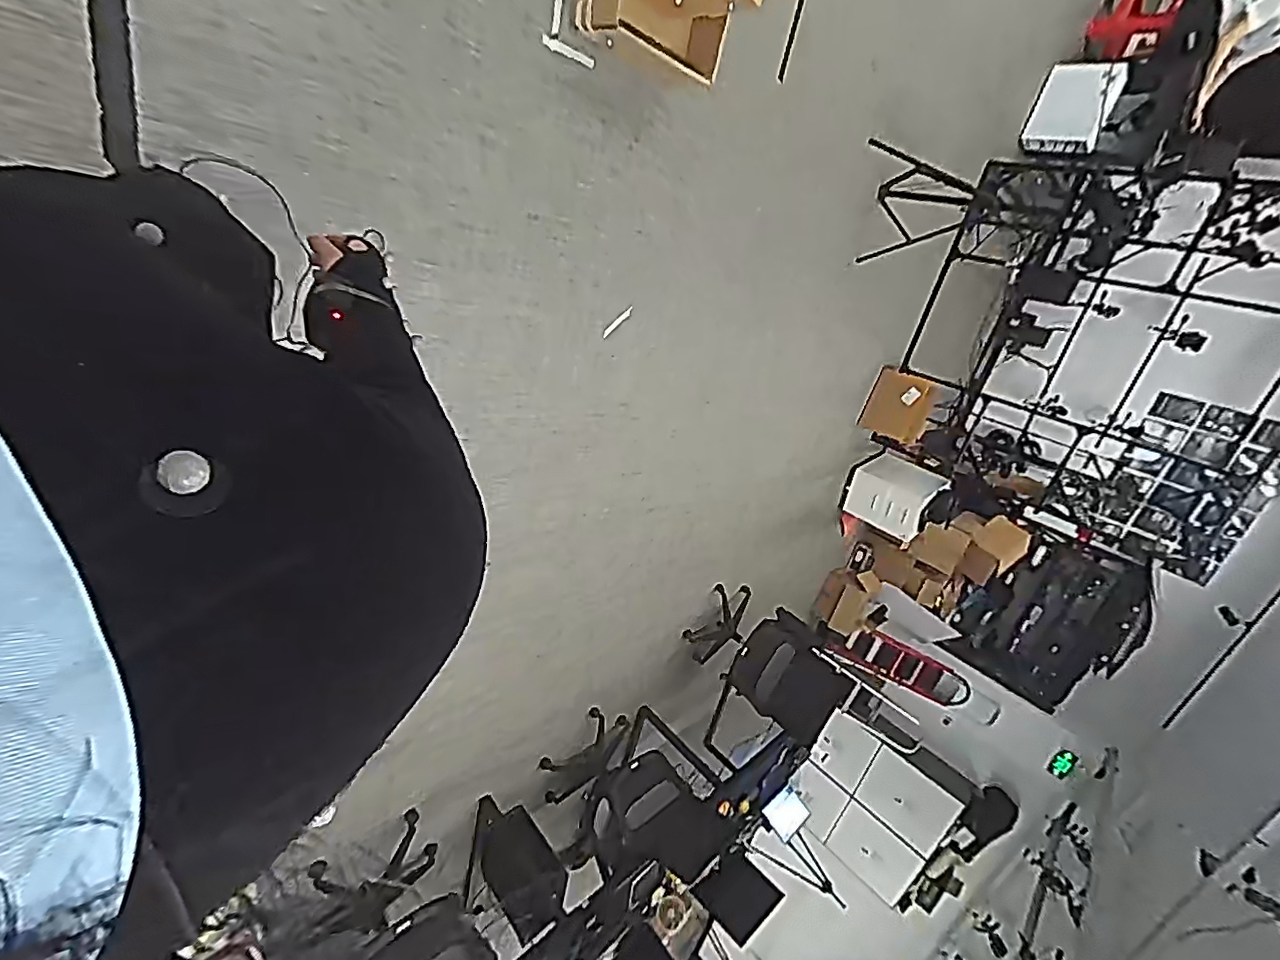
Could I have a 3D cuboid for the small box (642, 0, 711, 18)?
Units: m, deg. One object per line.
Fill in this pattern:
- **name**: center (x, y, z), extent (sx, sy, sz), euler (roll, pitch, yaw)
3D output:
- **small box**: center (0.091, -1.362, 1.425), extent (0.179, 0.176, 0.168), euler (-4, 116, -46)
